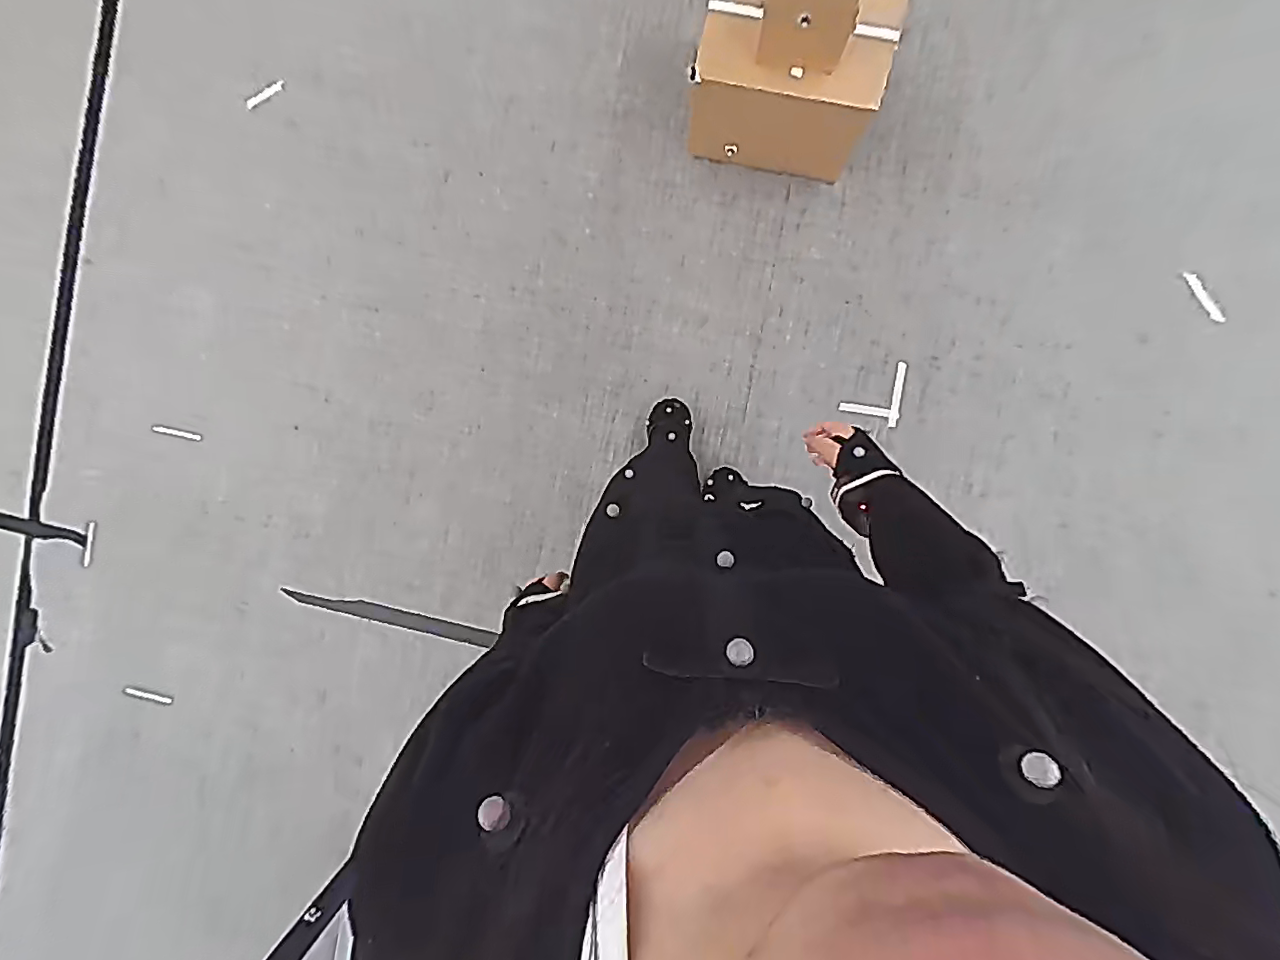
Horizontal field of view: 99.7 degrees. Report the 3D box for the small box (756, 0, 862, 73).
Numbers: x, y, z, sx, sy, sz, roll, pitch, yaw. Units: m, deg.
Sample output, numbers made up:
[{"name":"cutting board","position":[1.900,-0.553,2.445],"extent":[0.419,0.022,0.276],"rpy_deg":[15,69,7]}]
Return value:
[{"name":"small box","position":[0.337,-0.949,1.068],"extent":[0.179,0.176,0.168],"rpy_deg":[11,94,3]}]
